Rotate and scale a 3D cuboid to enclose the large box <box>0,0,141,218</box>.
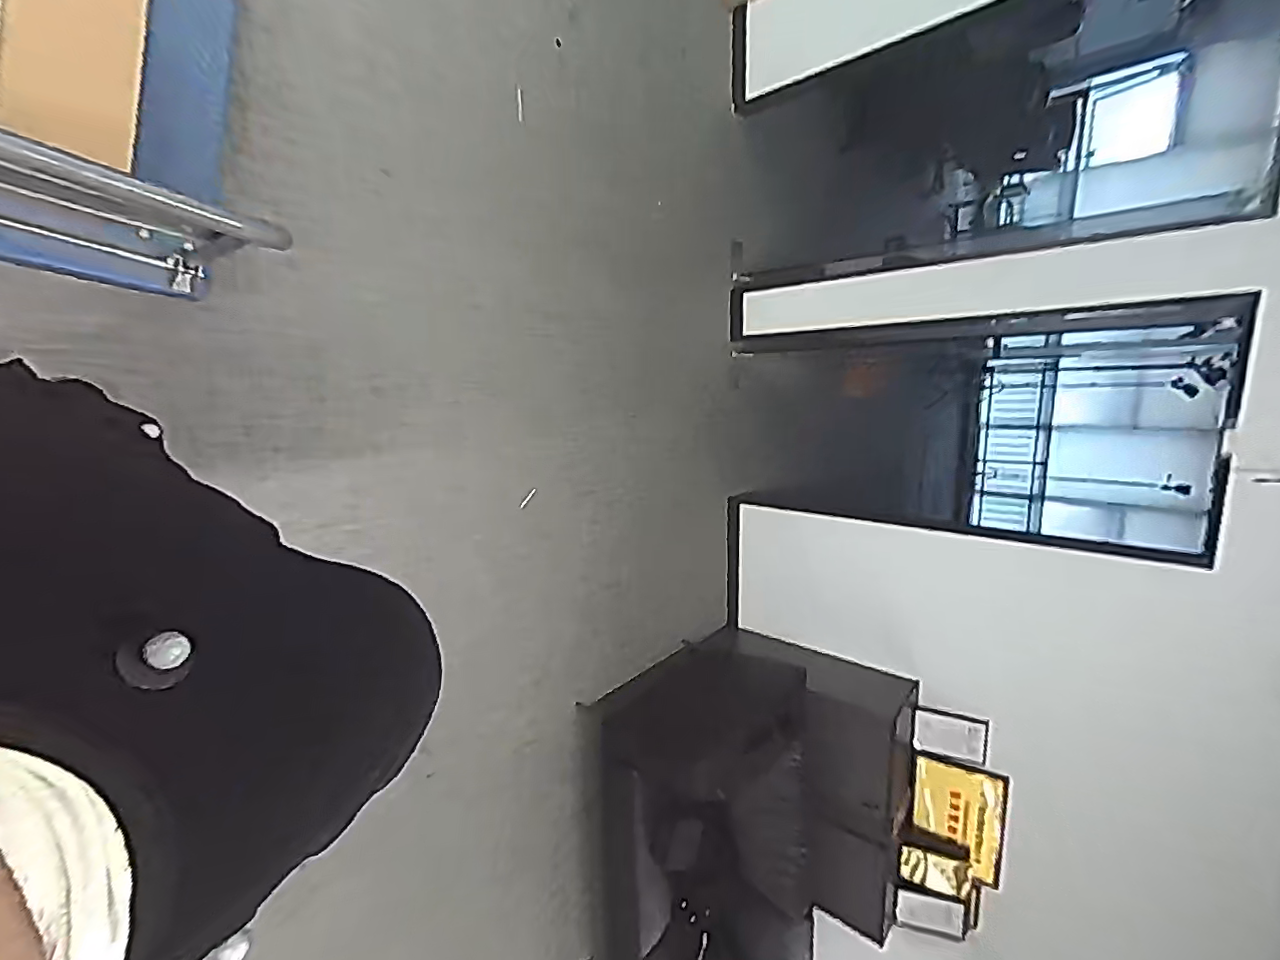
[{"bbox_3d":[-1.002,-0.691,0.830,0.320,0.320,0.408,4,91,-50],"label":"large box"}]
